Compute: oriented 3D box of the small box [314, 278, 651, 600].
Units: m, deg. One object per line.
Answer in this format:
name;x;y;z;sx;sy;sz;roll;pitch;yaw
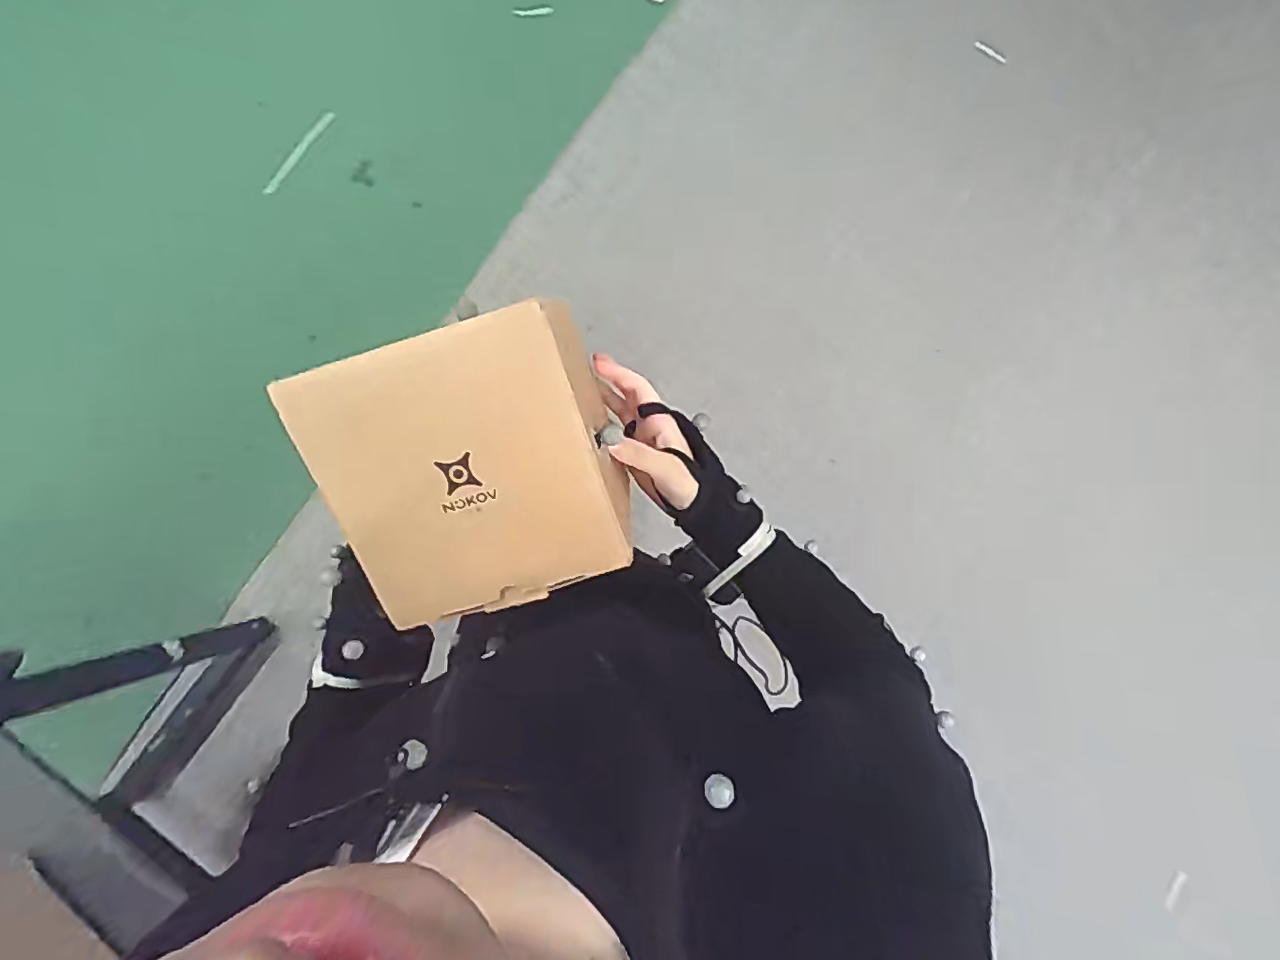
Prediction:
small box;-0.095;-0.042;0.412;0.168;0.176;0.179;-15;110;3
